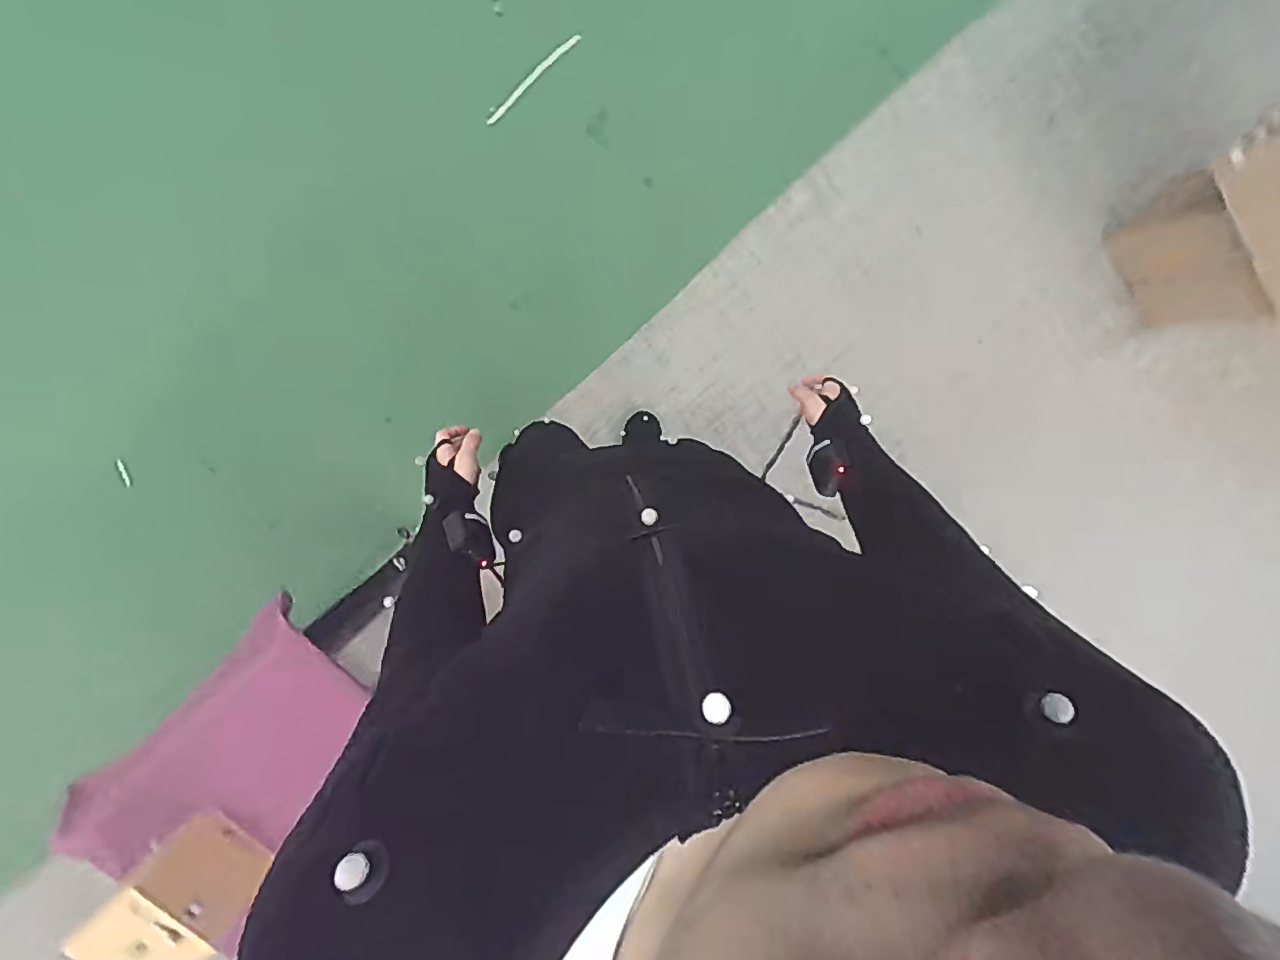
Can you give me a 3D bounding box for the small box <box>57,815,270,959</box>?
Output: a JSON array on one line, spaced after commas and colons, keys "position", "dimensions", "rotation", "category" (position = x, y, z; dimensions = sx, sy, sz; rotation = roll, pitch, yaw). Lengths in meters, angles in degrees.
[{"position": [-0.786, 0.724, 0.914], "dimensions": [0.179, 0.176, 0.168], "rotation": [-41, 100, 7], "category": "small box"}]
